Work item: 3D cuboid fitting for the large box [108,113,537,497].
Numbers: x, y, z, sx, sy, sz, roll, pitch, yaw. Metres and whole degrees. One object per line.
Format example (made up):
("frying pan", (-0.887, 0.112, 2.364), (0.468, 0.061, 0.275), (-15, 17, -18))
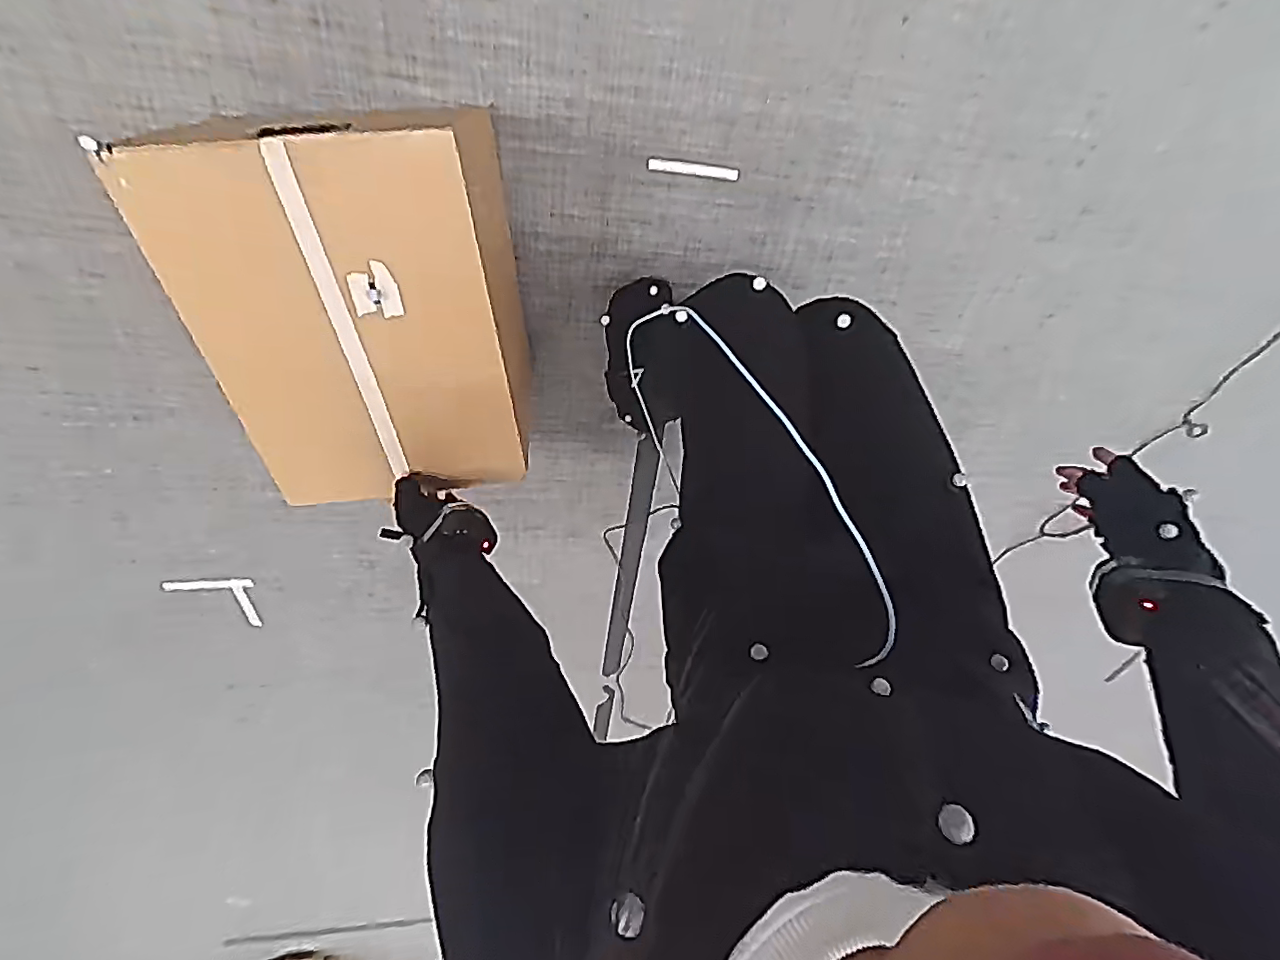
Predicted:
("large box", (-0.329, -0.237, 0.726), (0.320, 0.320, 0.408), (-7, 127, -5))
